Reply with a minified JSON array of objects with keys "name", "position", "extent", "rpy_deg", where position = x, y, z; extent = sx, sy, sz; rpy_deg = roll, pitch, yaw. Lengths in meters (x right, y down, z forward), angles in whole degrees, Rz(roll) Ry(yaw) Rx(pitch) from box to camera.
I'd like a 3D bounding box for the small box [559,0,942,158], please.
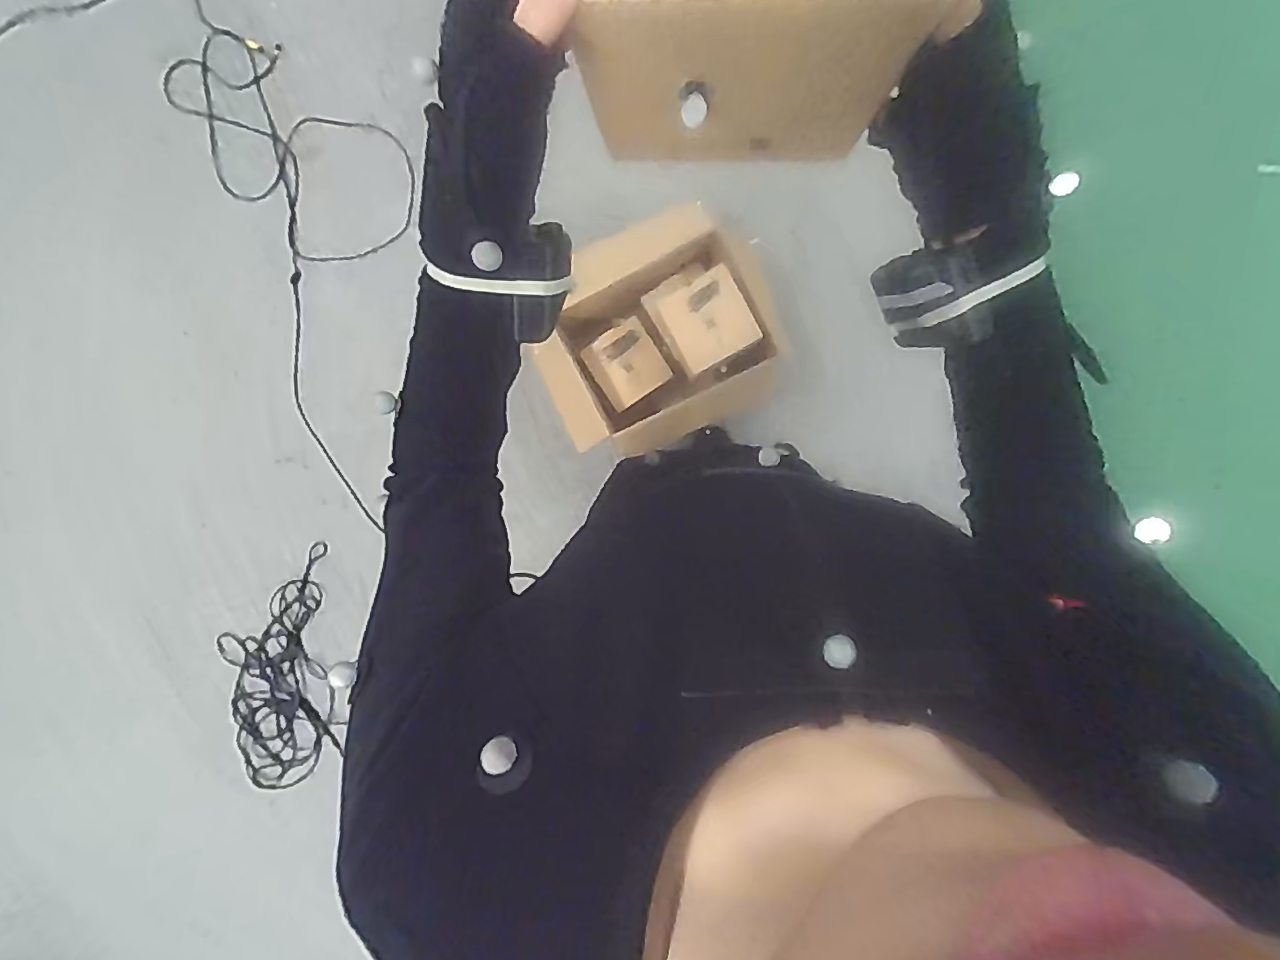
[{"name":"small box","position":[0.057,-0.292,0.281],"extent":[0.168,0.176,0.179],"rpy_deg":[3,99,4]}]
